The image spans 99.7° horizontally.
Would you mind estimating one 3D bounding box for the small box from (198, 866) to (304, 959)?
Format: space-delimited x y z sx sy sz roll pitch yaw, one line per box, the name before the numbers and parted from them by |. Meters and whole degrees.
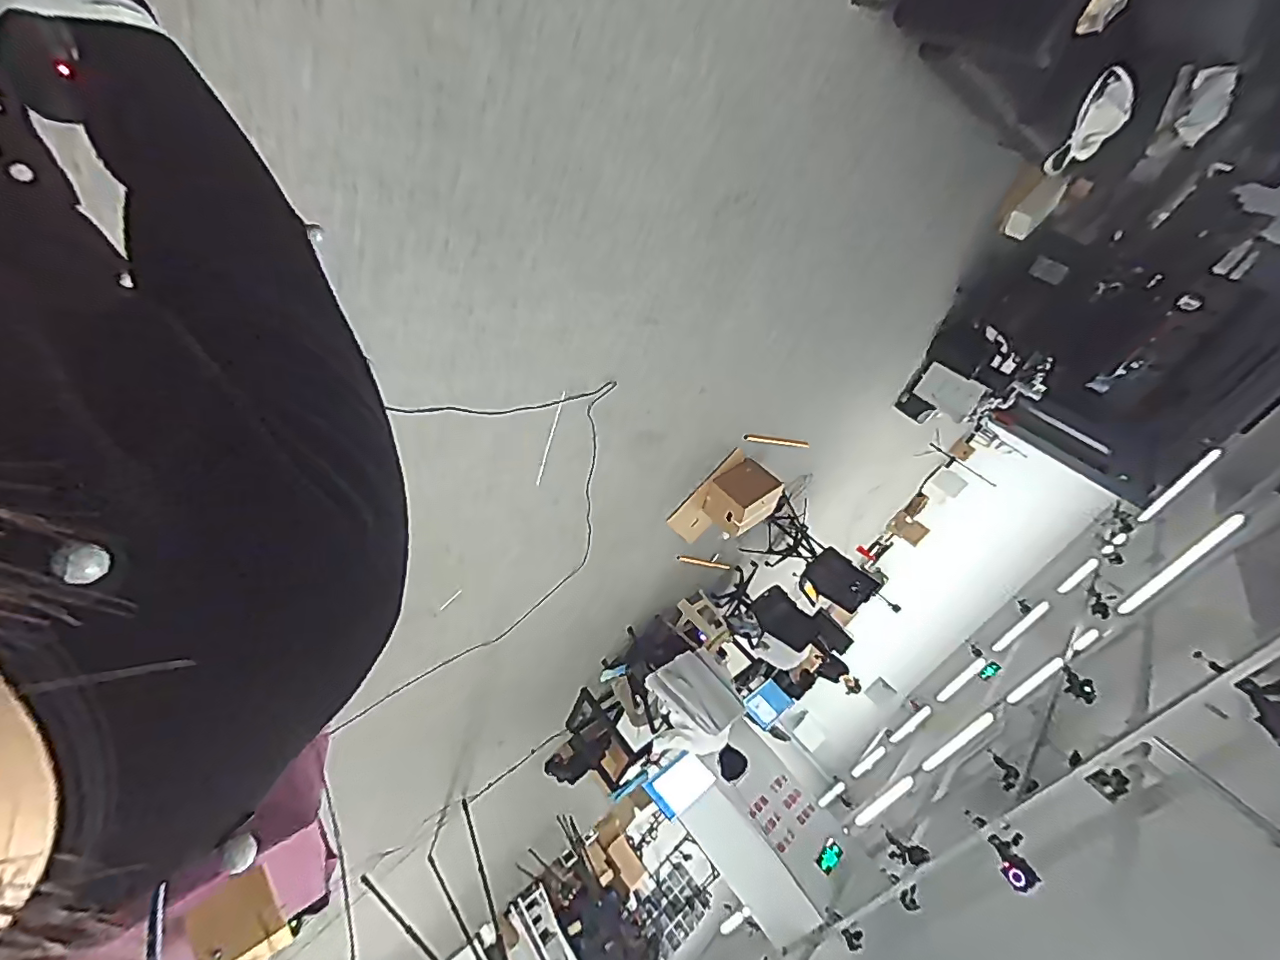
small box | -0.986 1.136 1.375 0.179 0.176 0.168 -18 140 -40
